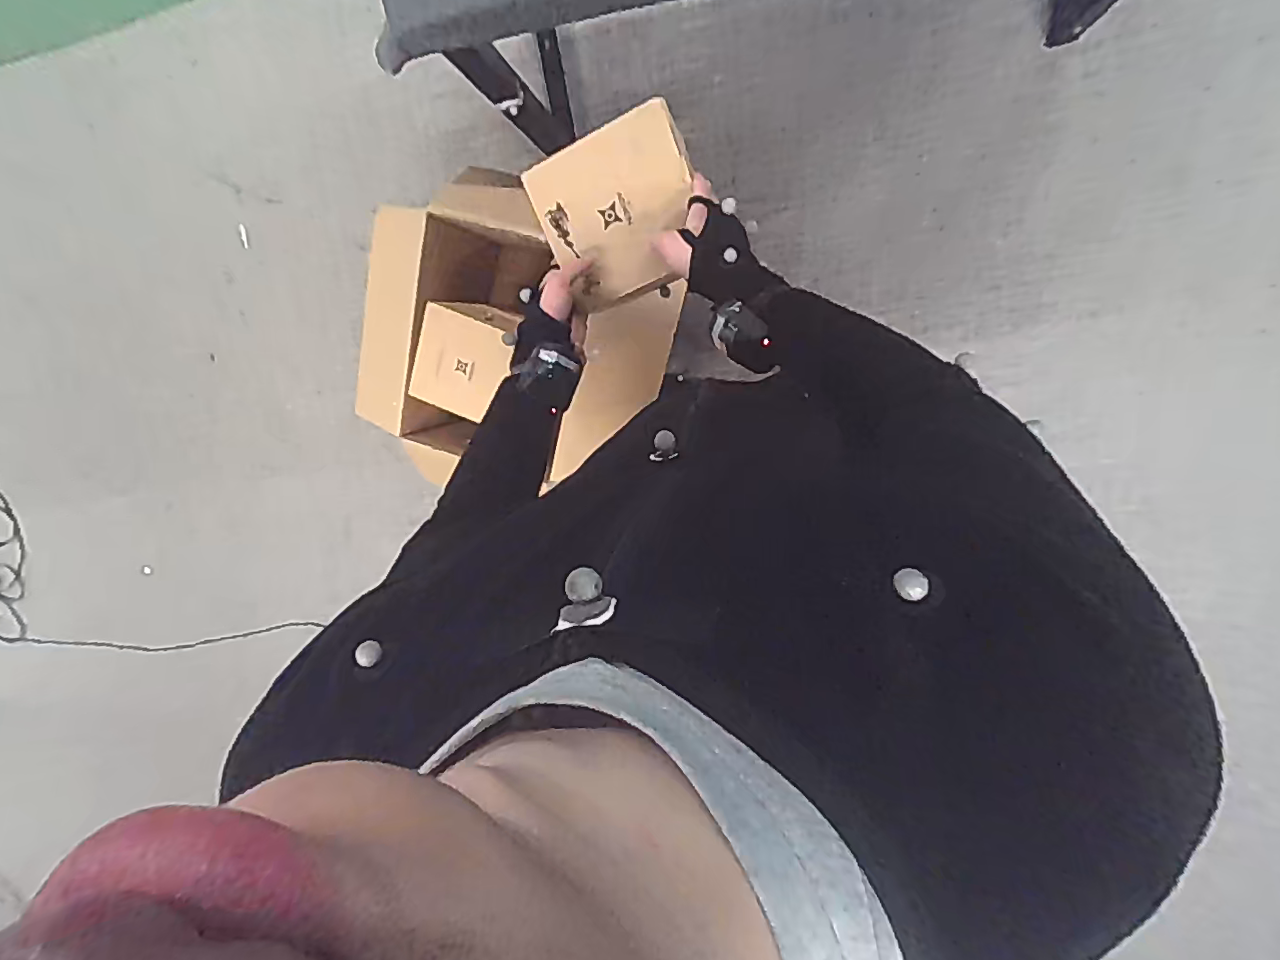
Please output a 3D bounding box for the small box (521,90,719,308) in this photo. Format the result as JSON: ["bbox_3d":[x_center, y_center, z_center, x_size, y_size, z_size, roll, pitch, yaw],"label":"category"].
[{"bbox_3d":[-0.012,-0.326,0.663,0.179,0.176,0.168,-19,105,16],"label":"small box"}]
